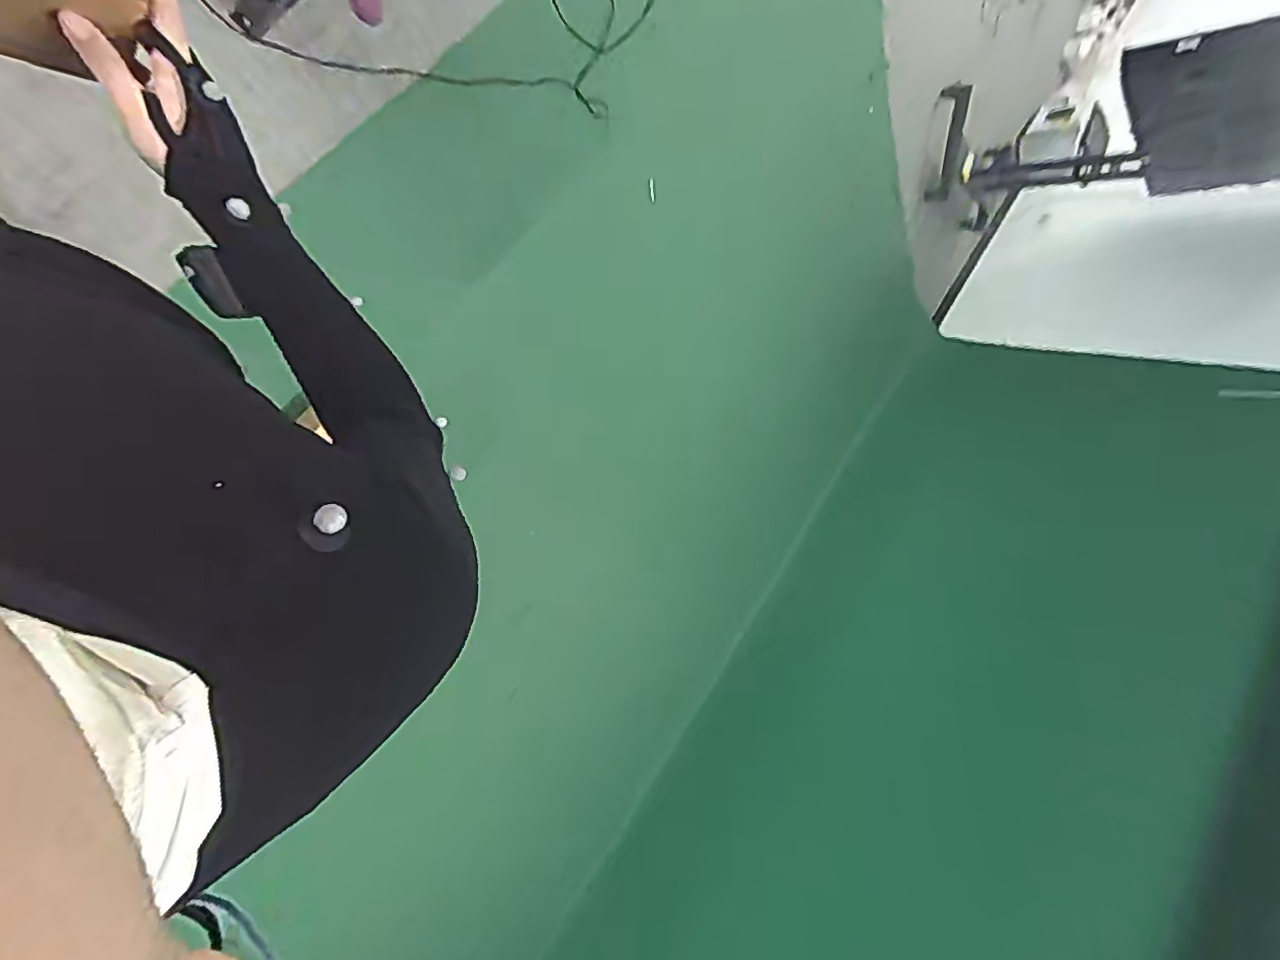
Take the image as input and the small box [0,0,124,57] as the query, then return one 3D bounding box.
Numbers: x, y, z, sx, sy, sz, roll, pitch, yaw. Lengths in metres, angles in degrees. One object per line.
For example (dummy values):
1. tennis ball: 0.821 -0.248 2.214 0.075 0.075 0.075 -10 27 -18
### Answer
1. small box: -0.448 -0.411 0.336 0.179 0.176 0.168 -8 100 -44
